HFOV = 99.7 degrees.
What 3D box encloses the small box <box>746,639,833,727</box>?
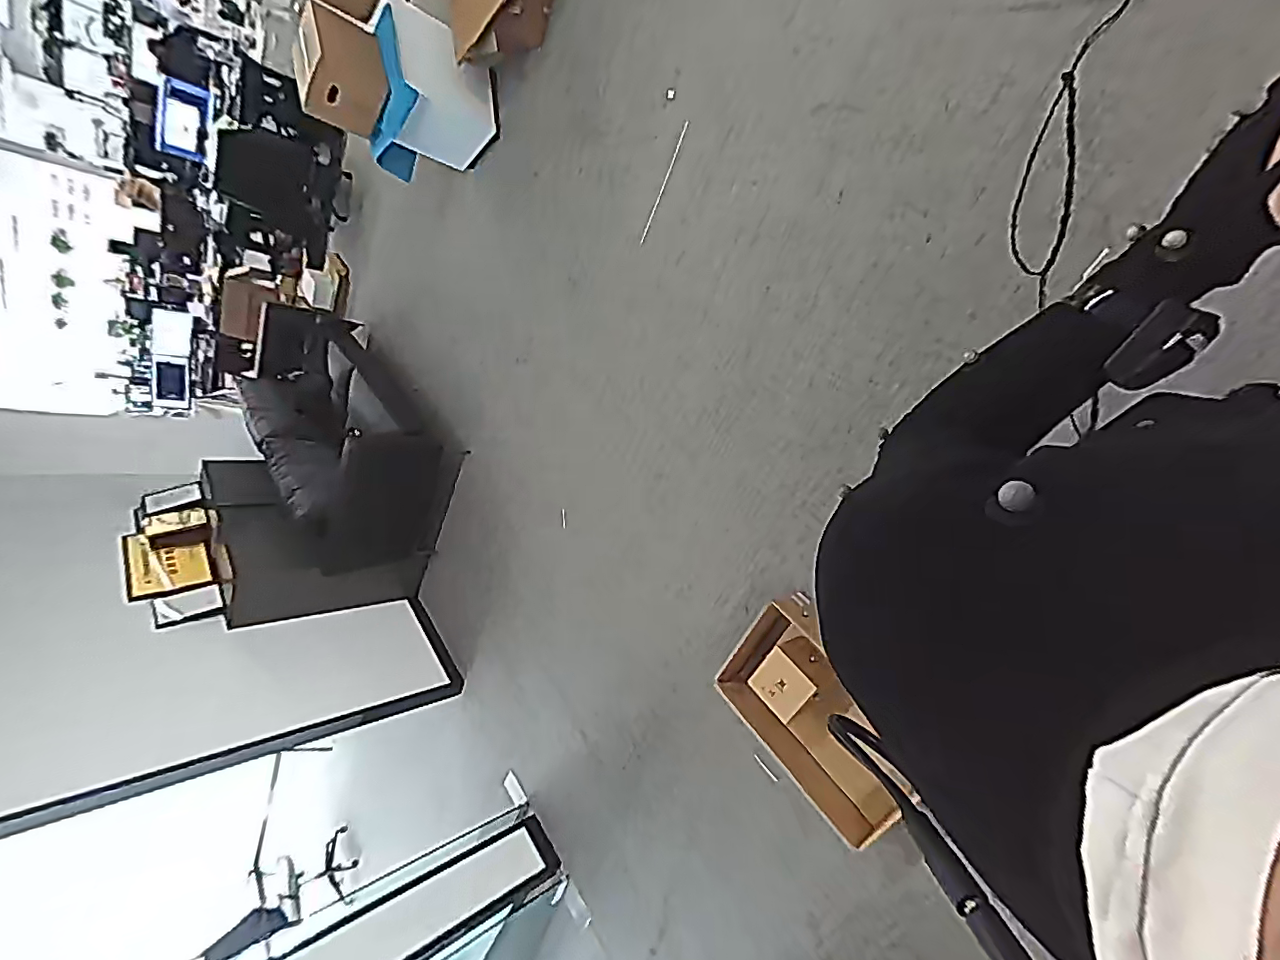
[{"bbox_3d":[0.472,0.622,1.680,0.168,0.176,0.179,46,120,33],"label":"small box"}]
